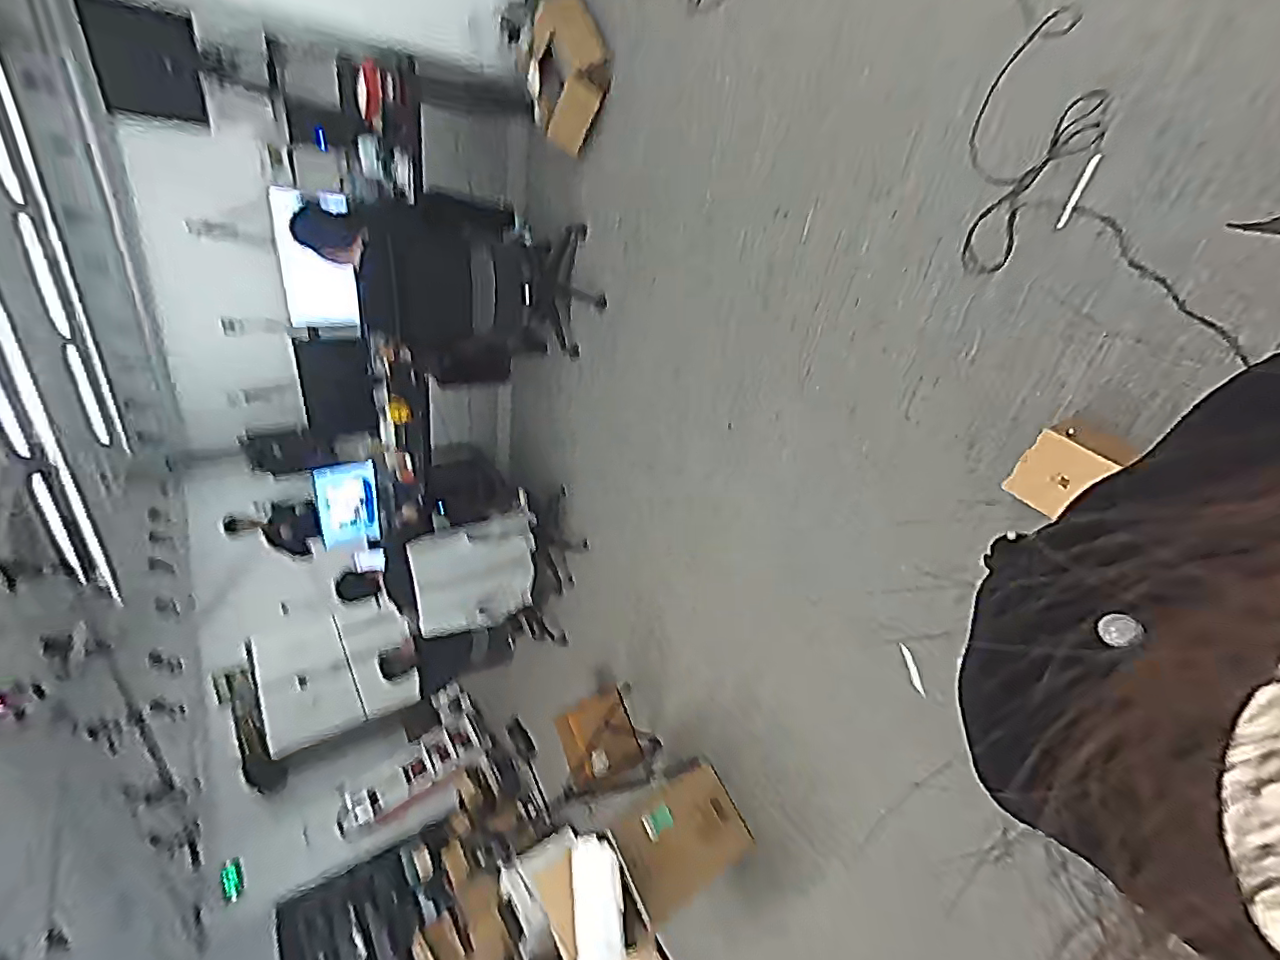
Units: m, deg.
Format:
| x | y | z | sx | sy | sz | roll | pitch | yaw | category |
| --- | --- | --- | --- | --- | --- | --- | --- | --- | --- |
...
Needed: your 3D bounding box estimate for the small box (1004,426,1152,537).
| x | y | z | sx | sy | sz | roll | pitch | yaw | category |
| --- | --- | --- | --- | --- | --- | --- | --- | --- | --- |
| 0.968 | -0.006 | 1.195 | 0.179 | 0.176 | 0.168 | 46 | 135 | 37 | small box |
